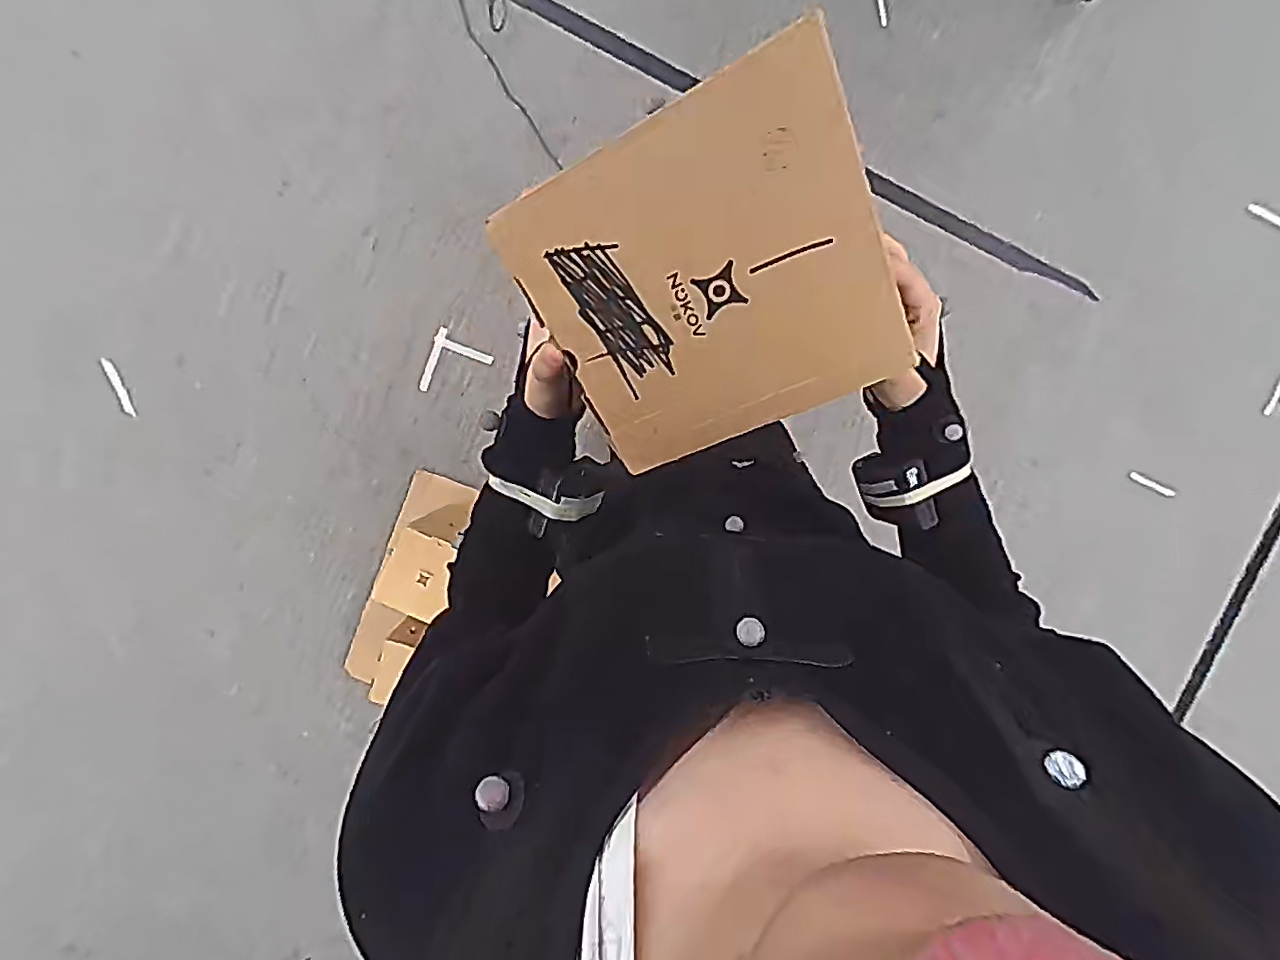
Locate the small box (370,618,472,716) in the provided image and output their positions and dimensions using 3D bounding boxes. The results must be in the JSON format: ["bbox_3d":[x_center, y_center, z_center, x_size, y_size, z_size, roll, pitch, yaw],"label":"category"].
[{"bbox_3d":[-0.562,0.476,1.405,0.179,0.176,0.168,17,95,-5],"label":"small box"}]

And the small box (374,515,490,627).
[{"bbox_3d":[-0.457,0.197,1.219,0.168,0.176,0.179,25,92,-6],"label":"small box"}]

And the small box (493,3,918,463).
[{"bbox_3d":[0.046,-0.142,0.345,0.179,0.176,0.168,-20,117,20],"label":"small box"}]
